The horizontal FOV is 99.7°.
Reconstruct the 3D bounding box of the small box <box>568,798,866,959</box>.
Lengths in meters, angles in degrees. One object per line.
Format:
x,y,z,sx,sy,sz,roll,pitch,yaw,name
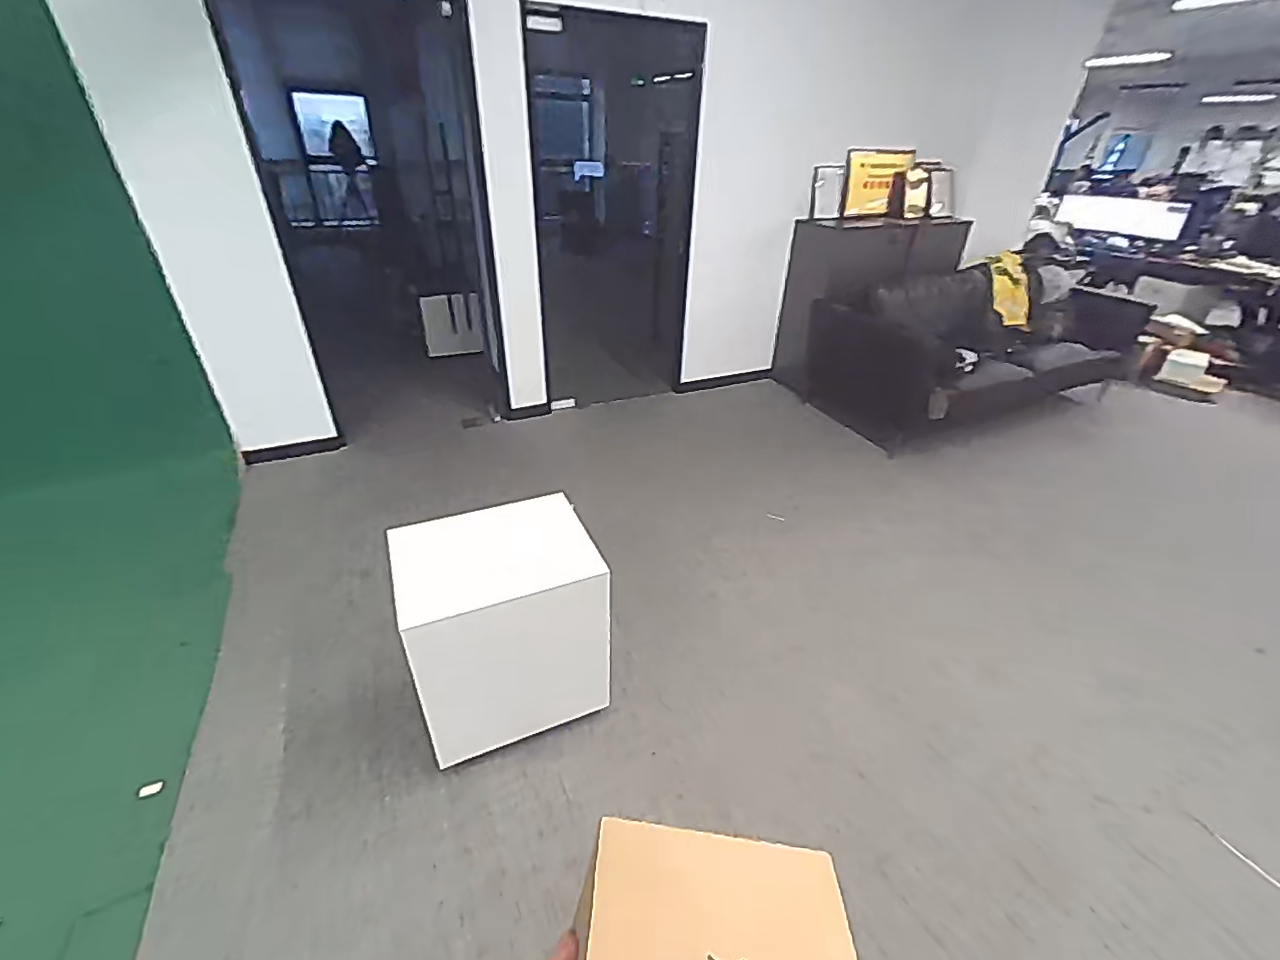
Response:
0.037,0.344,0.338,0.168,0.176,0.179,10,26,-3,small box
